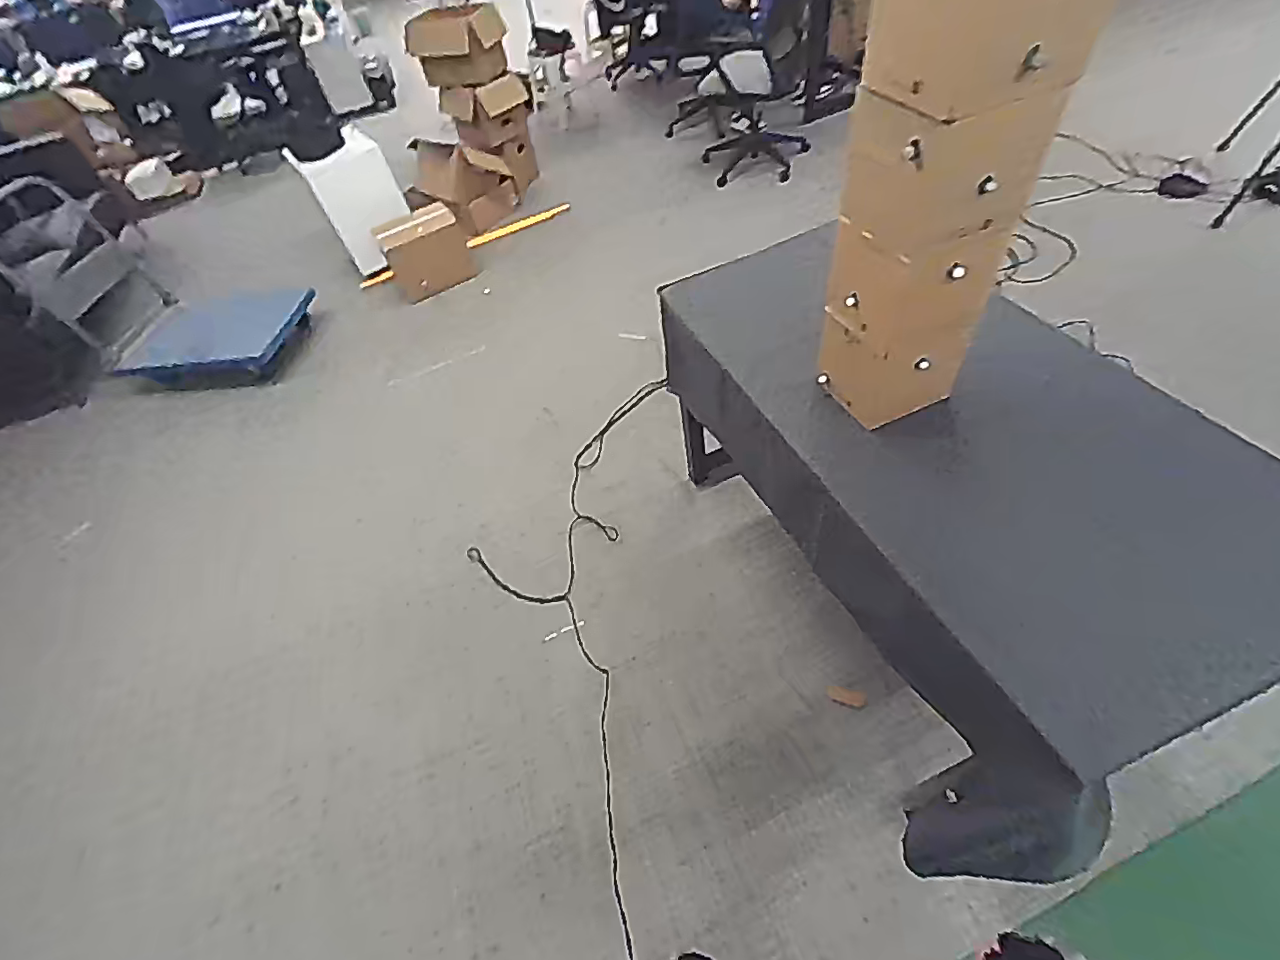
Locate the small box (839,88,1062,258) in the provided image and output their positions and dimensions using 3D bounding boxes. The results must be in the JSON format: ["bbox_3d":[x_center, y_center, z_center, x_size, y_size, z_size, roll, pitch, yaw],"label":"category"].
[{"bbox_3d":[0.392,-0.421,0.722,0.168,0.176,0.179,-22,51,-7],"label":"small box"}]

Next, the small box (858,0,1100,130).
[{"bbox_3d":[0.370,-0.519,0.593,0.179,0.176,0.168,-21,51,-6],"label":"small box"}]

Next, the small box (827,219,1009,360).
[{"bbox_3d":[0.419,-0.321,0.851,0.179,0.176,0.168,-23,51,-7],"label":"small box"}]

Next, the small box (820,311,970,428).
[{"bbox_3d":[0.443,-0.221,0.976,0.179,0.176,0.168,-22,51,-9],"label":"small box"}]
